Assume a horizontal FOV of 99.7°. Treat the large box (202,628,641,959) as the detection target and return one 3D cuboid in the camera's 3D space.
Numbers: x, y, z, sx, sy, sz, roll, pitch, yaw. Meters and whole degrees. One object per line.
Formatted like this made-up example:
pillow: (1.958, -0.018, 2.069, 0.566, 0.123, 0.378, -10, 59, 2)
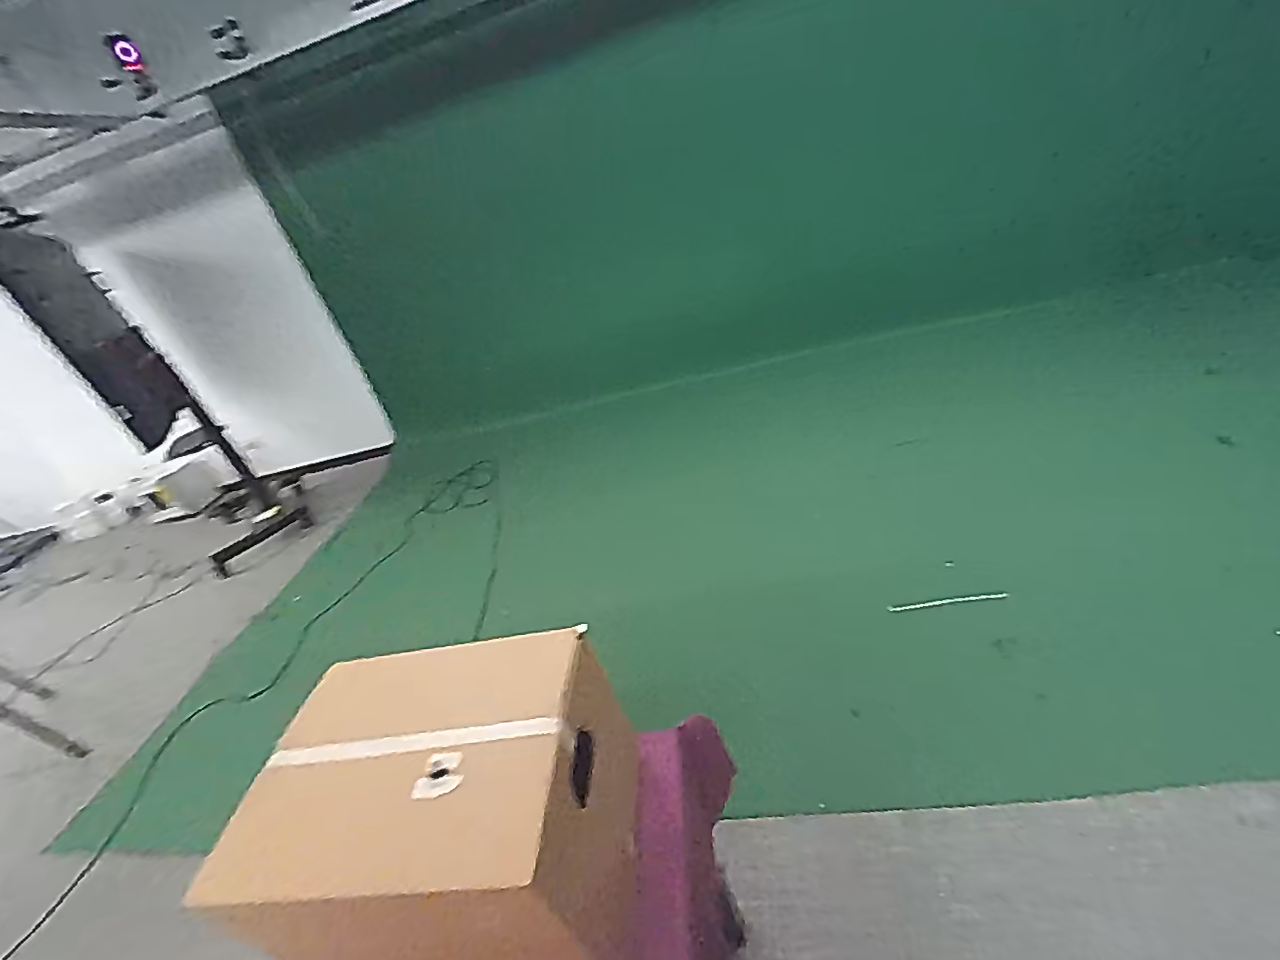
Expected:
large box: (-0.235, 0.450, 0.743, 0.408, 0.320, 0.320, -11, 31, 10)
